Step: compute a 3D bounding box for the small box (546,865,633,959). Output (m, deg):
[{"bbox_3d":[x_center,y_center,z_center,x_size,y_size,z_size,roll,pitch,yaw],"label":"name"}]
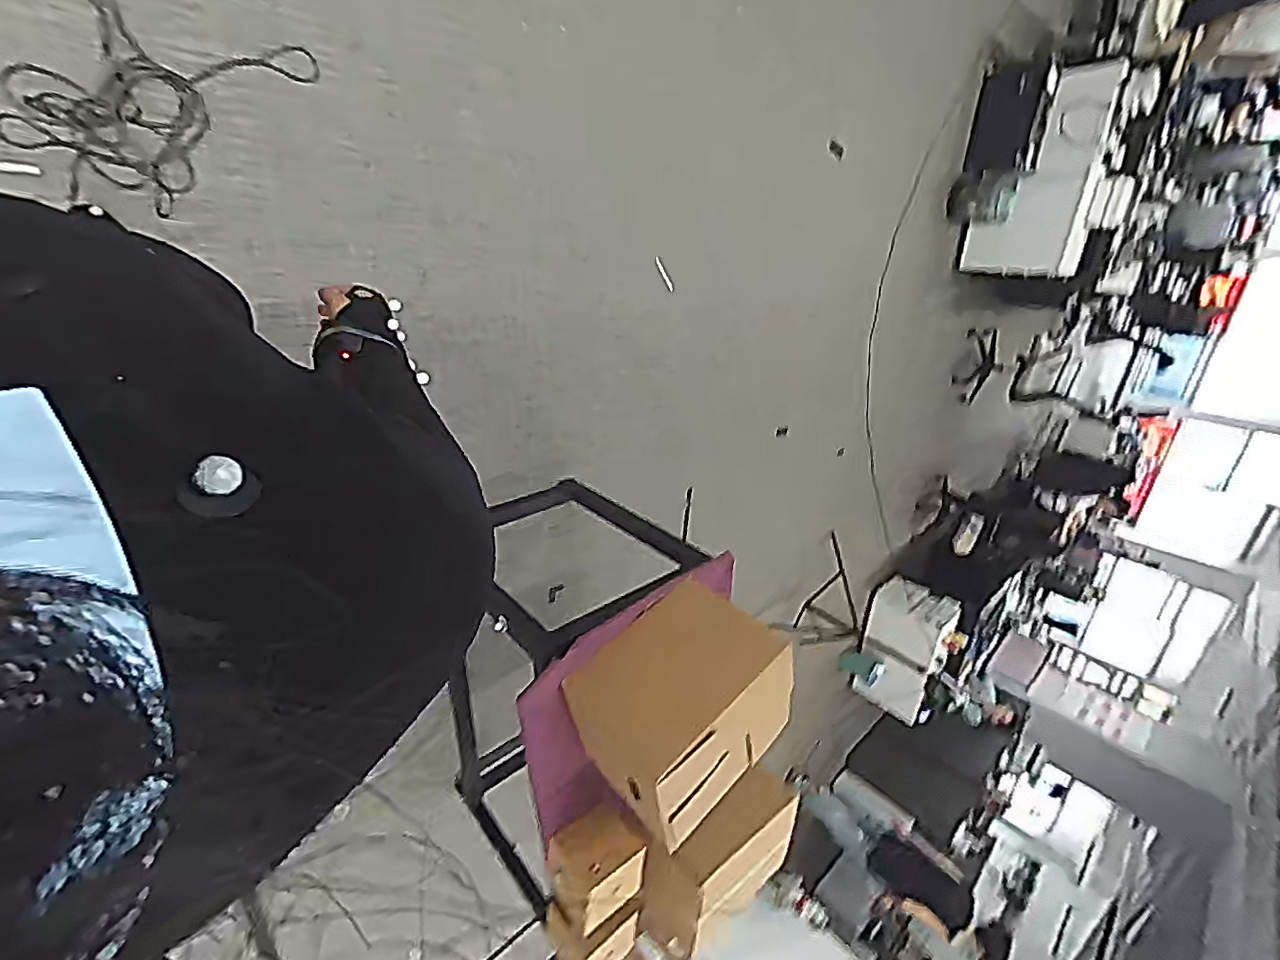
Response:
[{"bbox_3d":[-0.142,1.212,1.466,0.179,0.176,0.168,-16,120,-41],"label":"small box"}]
